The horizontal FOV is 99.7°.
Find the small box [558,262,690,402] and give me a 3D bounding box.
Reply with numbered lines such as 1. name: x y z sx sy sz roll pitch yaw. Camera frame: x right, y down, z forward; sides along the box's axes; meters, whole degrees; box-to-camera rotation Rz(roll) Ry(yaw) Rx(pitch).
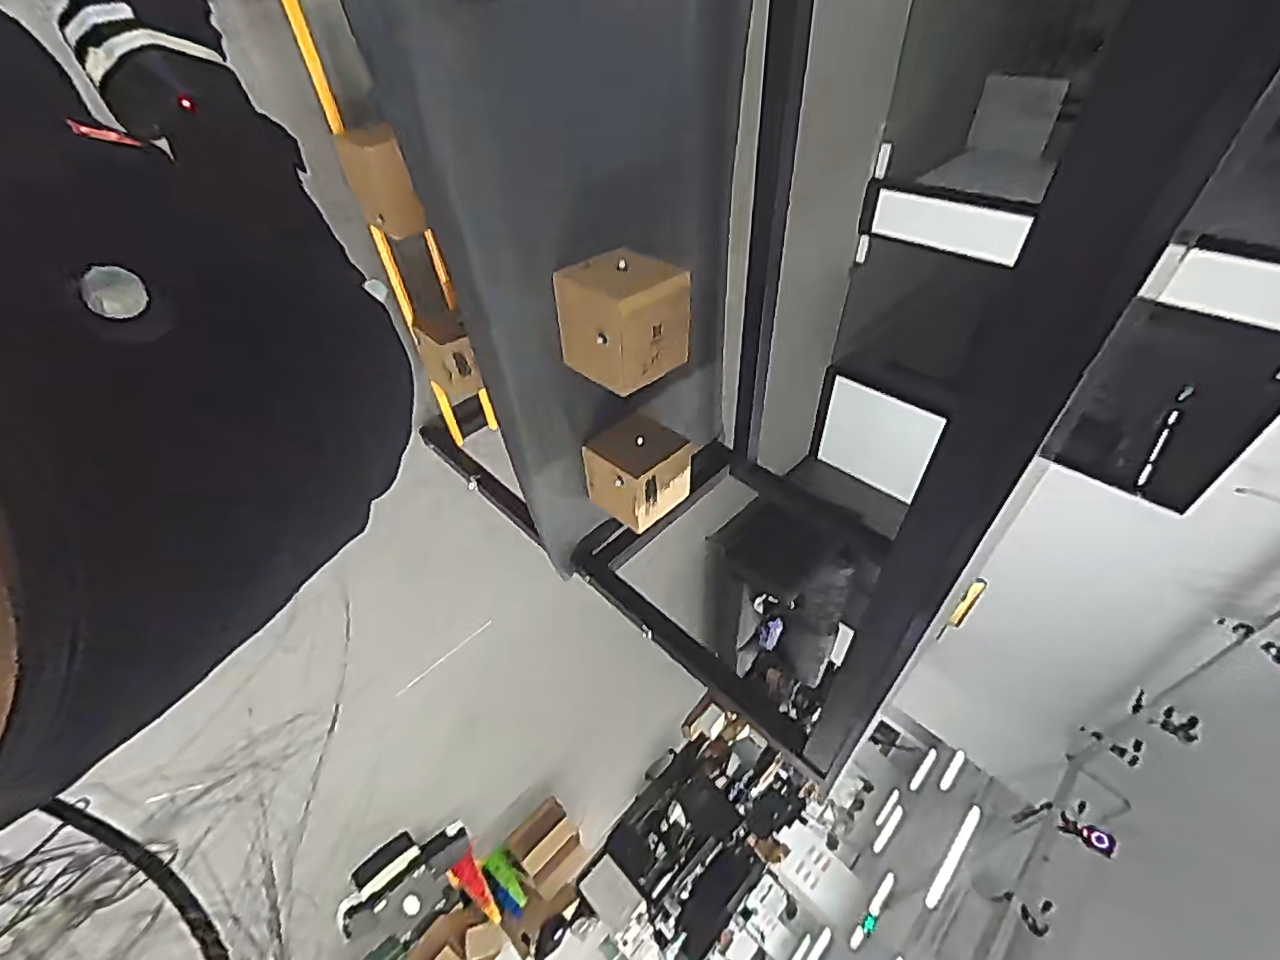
1. small box: -0.029 -0.270 0.954 0.168 0.176 0.179 -34 141 -31

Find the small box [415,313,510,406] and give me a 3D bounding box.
1. small box: -0.485 -0.331 1.465 0.179 0.176 0.168 -34 141 -31
